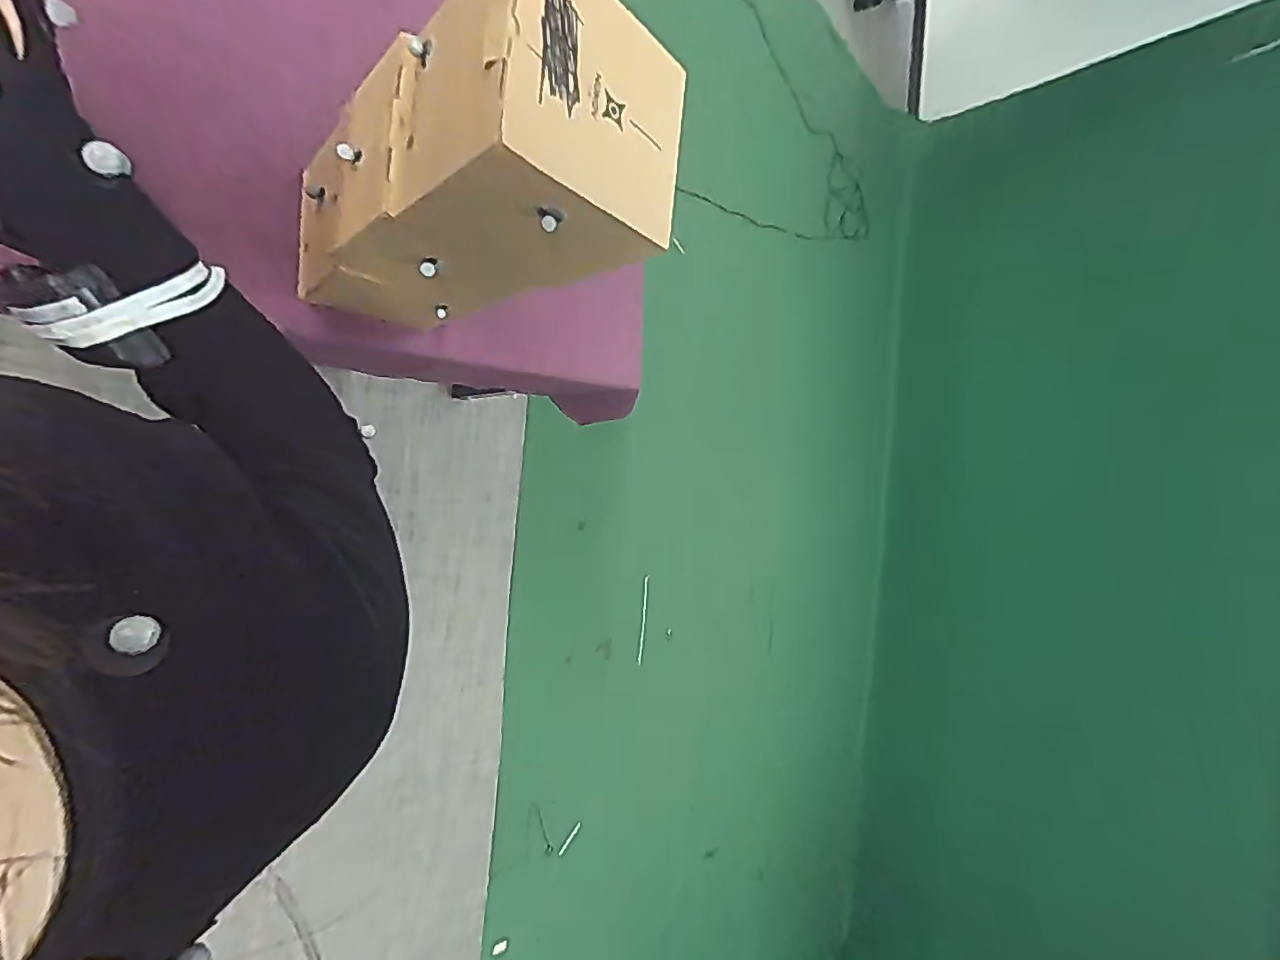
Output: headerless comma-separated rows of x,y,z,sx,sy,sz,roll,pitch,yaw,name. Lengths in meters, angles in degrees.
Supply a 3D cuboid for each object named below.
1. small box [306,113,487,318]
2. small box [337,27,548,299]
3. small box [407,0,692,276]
-0.314,-0.318,0.698,0.179,0.176,0.168,2,92,-46,small box
-0.202,-0.307,0.578,0.179,0.176,0.168,7,89,-45,small box
-0.079,-0.295,0.468,0.179,0.176,0.168,8,88,-47,small box
